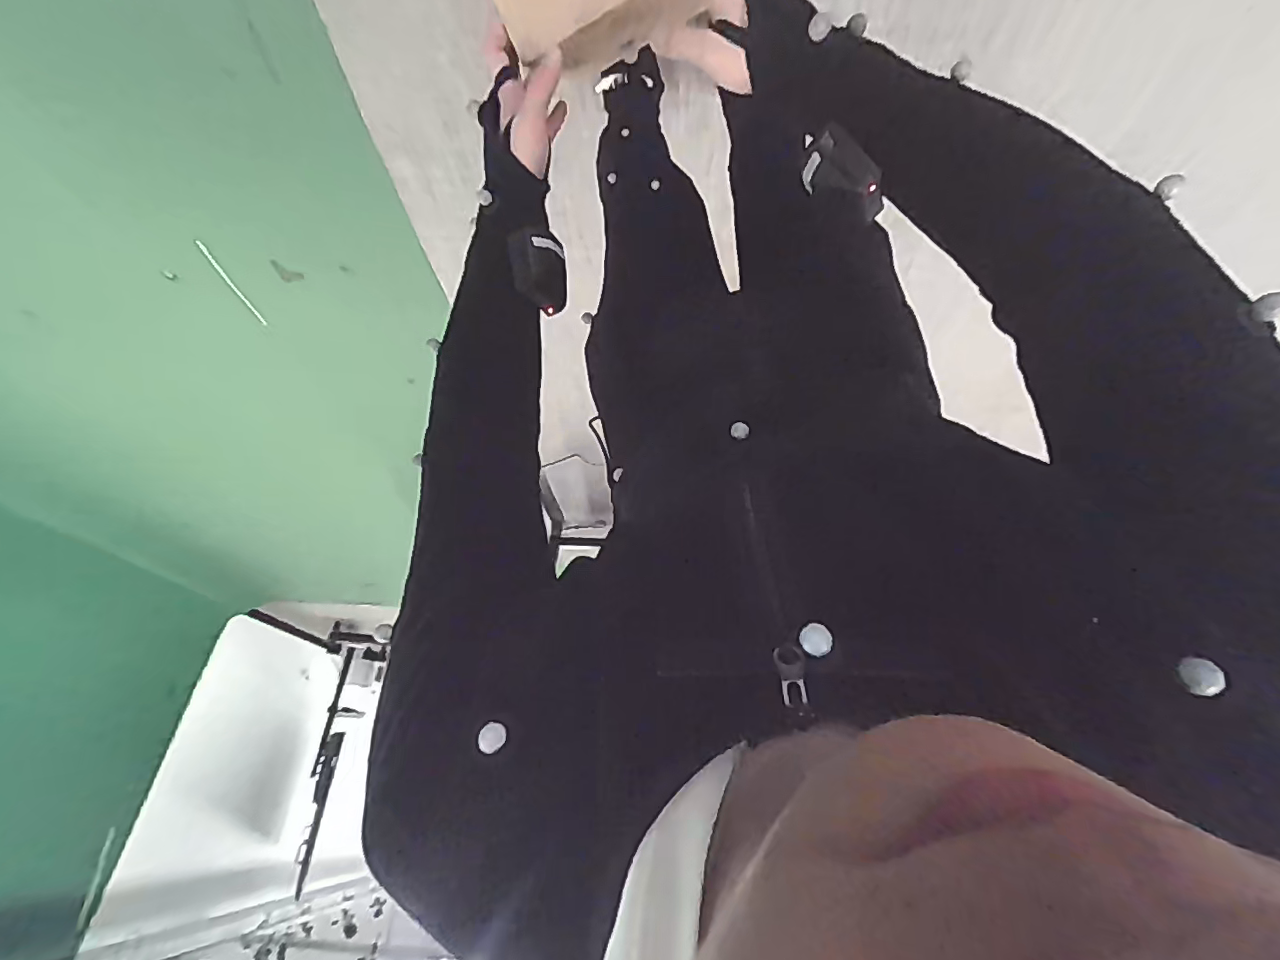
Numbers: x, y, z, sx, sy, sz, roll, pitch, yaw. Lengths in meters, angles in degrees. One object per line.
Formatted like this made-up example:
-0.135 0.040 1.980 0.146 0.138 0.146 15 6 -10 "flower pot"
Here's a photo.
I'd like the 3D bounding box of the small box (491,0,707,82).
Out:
-0.049 -0.500 0.488 0.168 0.176 0.179 -14 116 23 "small box"
